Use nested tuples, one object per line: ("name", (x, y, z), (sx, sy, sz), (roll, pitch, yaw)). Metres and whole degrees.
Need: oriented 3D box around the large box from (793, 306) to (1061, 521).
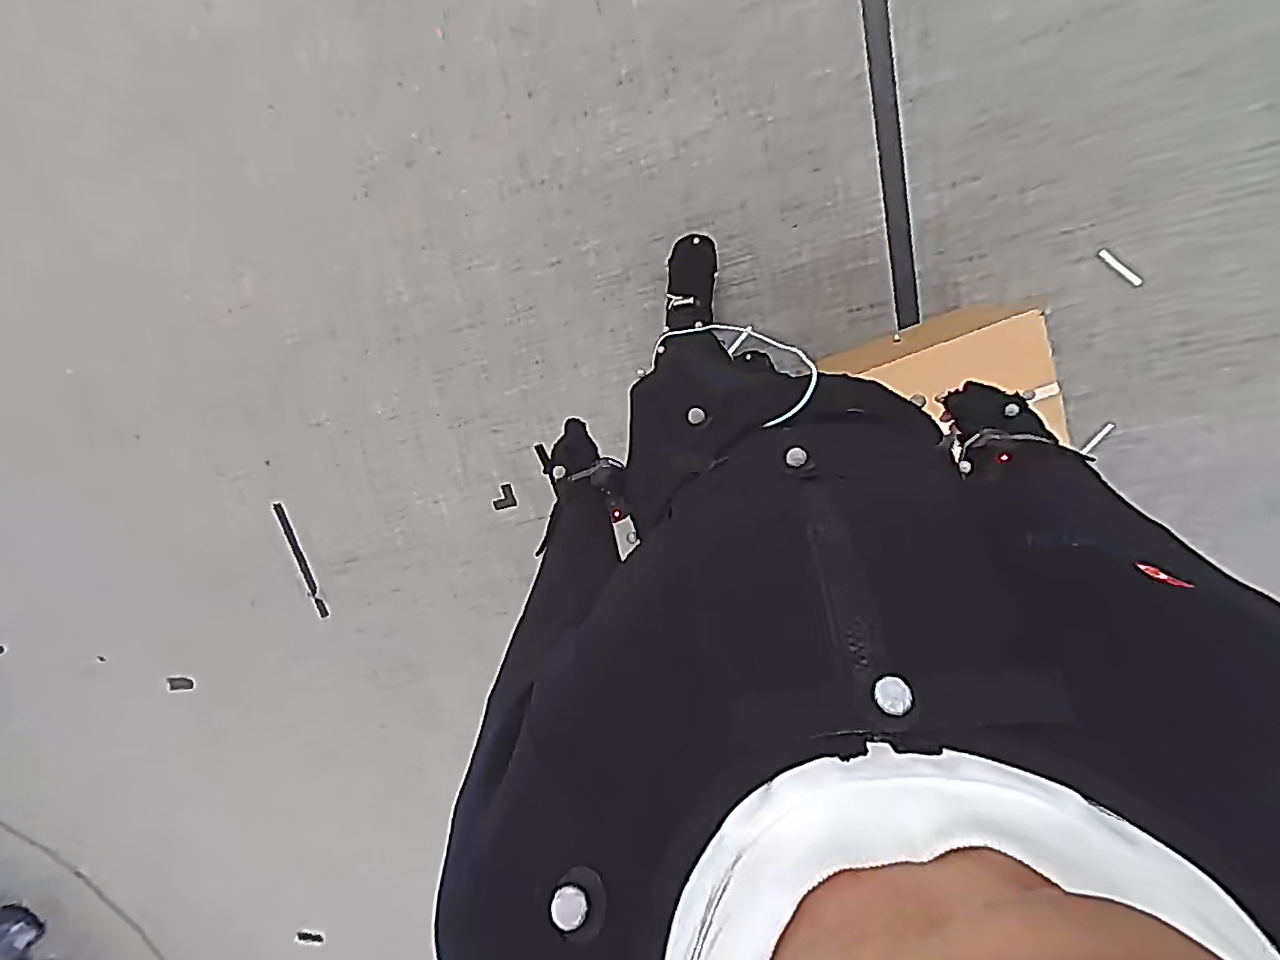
("large box", (0.603, -0.158, 1.205), (0.408, 0.320, 0.320), (-20, 105, 12))
